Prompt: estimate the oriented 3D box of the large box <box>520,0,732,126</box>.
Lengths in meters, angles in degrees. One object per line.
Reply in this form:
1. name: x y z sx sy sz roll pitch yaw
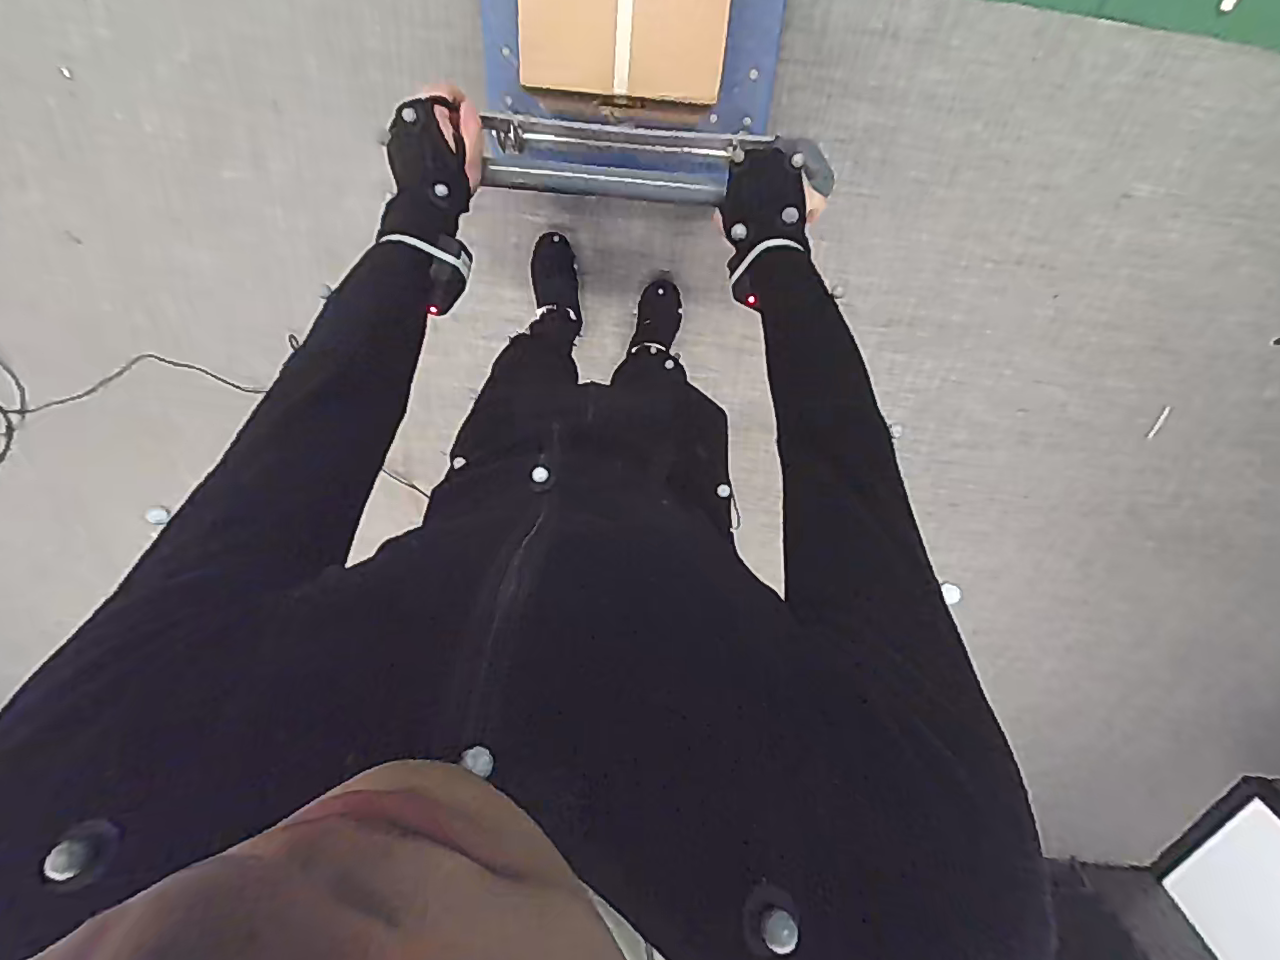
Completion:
1. large box: -0.012 -0.842 0.887 0.320 0.320 0.408 4 118 -2
